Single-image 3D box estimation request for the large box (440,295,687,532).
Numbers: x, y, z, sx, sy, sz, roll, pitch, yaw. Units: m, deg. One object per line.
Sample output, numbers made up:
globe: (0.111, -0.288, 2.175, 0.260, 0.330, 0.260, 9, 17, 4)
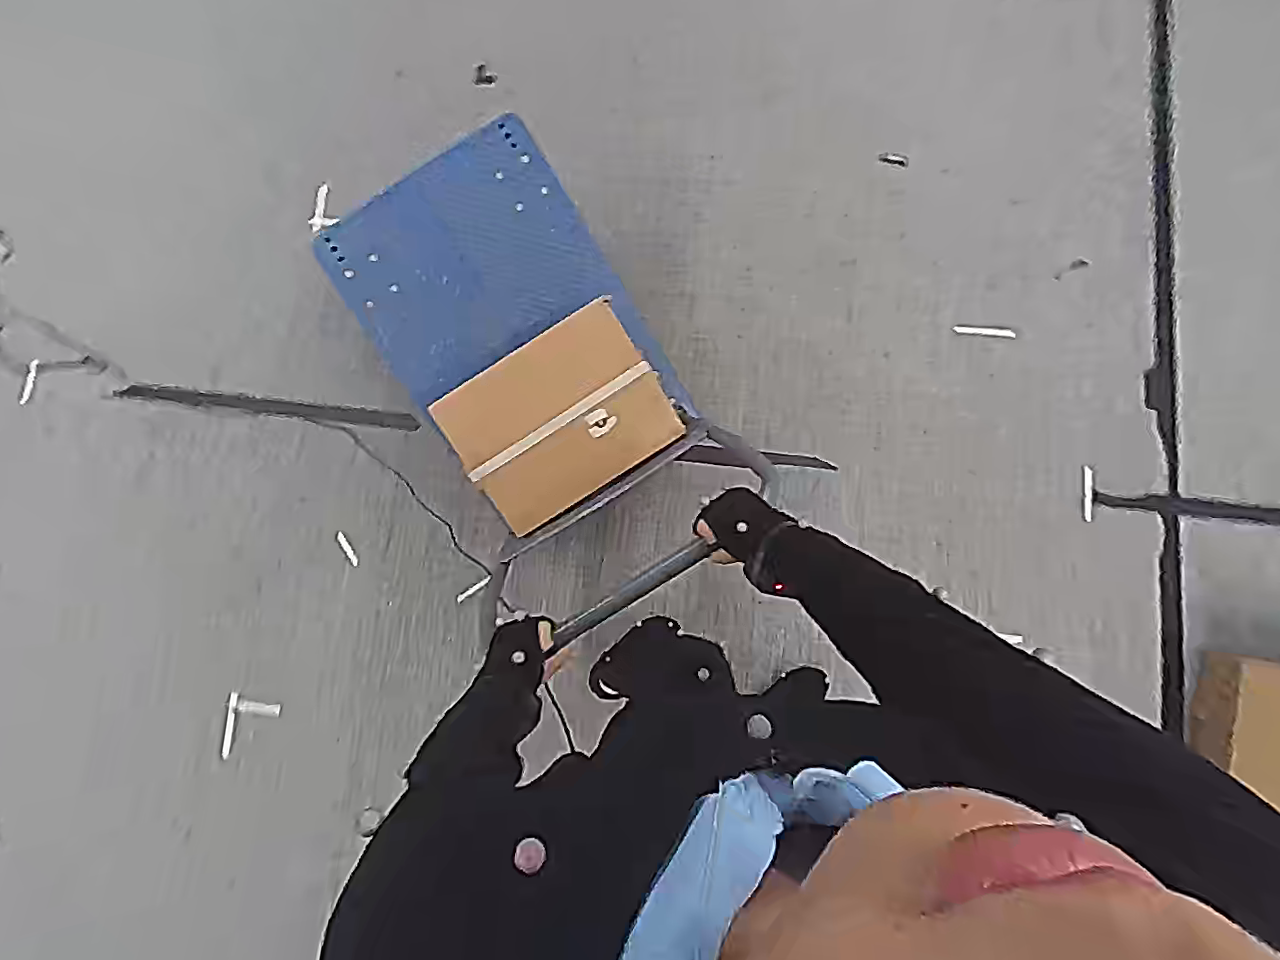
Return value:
large box: (-0.161, -0.146, 1.221, 0.408, 0.320, 0.320, -34, 101, 0)
